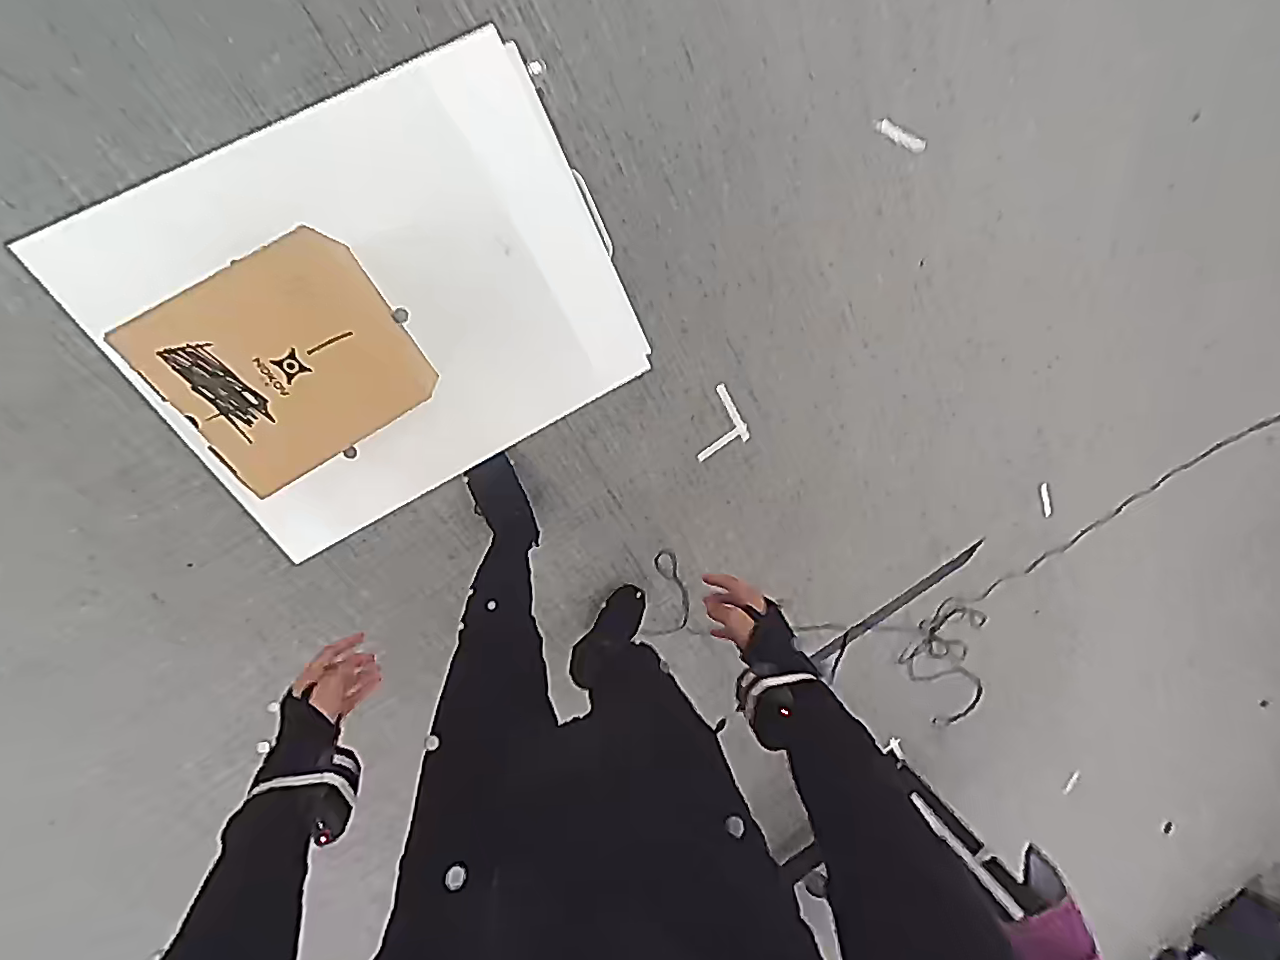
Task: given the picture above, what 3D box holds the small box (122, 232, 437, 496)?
[{"bbox_3d":[-0.320,-0.115,0.533,0.179,0.176,0.168,-33,114,-6],"label":"small box"}]
